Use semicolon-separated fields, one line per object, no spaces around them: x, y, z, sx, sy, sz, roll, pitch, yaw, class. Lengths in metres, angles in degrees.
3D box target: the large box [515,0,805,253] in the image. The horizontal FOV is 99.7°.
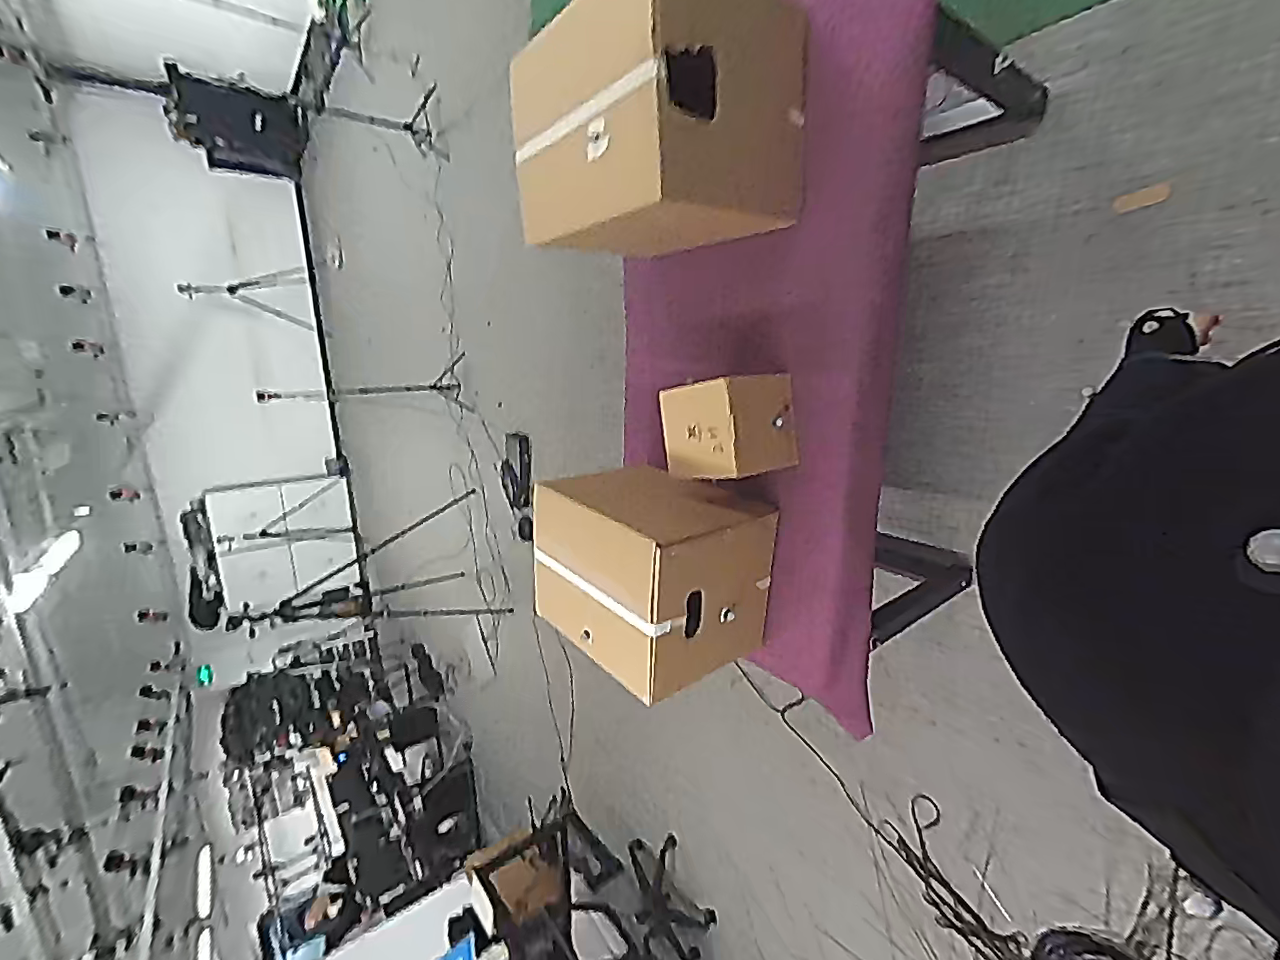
0.023;-0.597;0.932;0.408;0.320;0.320;14;112;50;large box
